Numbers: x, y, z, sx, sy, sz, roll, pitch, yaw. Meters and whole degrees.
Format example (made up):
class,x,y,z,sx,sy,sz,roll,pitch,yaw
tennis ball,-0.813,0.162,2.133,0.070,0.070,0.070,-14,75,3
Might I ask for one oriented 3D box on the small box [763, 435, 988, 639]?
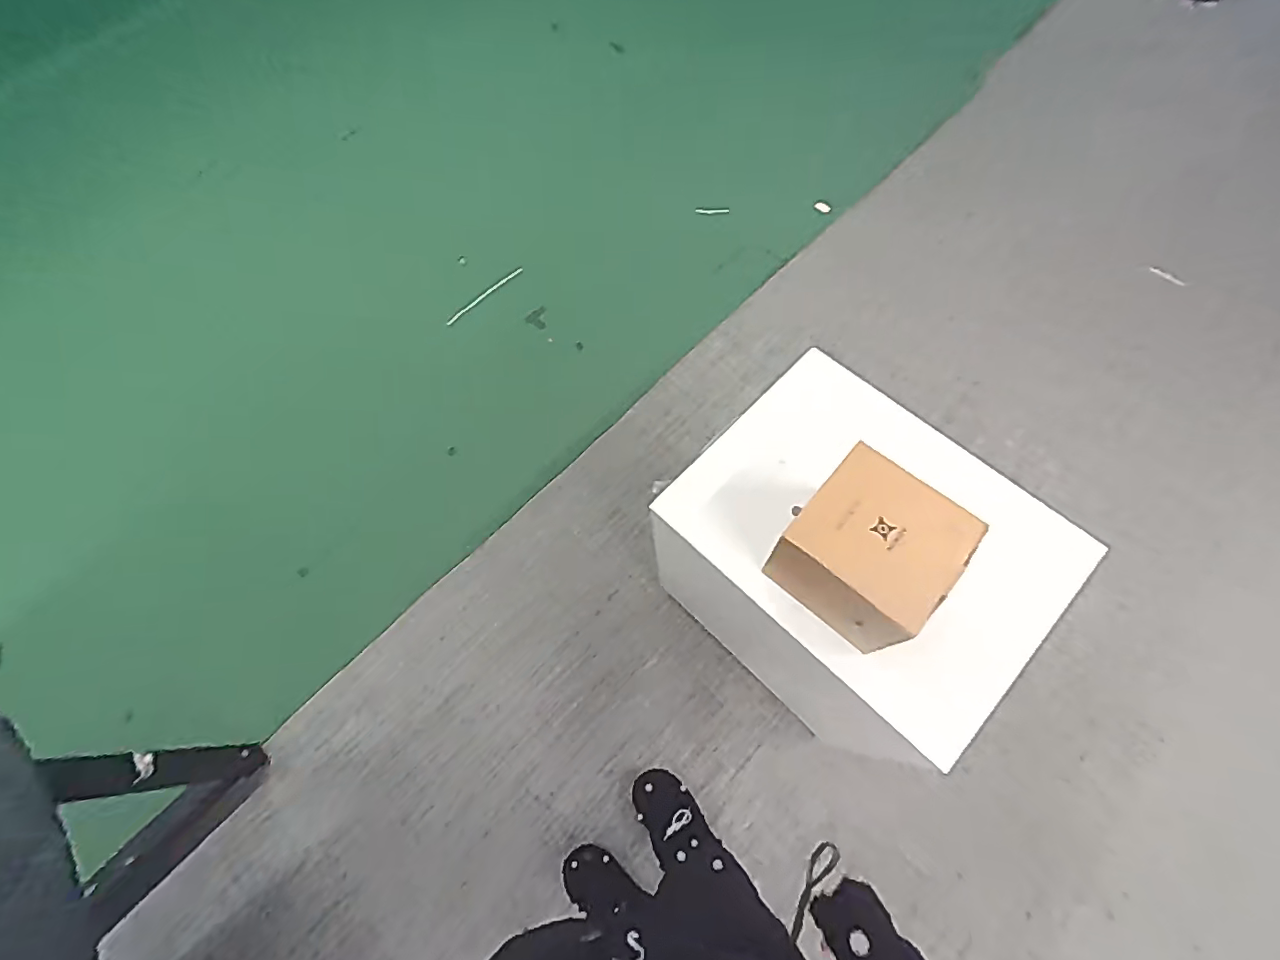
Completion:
class,x,y,z,sx,sy,sz,roll,pitch,yaw
small box,0.279,0.082,0.683,0.179,0.176,0.168,38,74,19
